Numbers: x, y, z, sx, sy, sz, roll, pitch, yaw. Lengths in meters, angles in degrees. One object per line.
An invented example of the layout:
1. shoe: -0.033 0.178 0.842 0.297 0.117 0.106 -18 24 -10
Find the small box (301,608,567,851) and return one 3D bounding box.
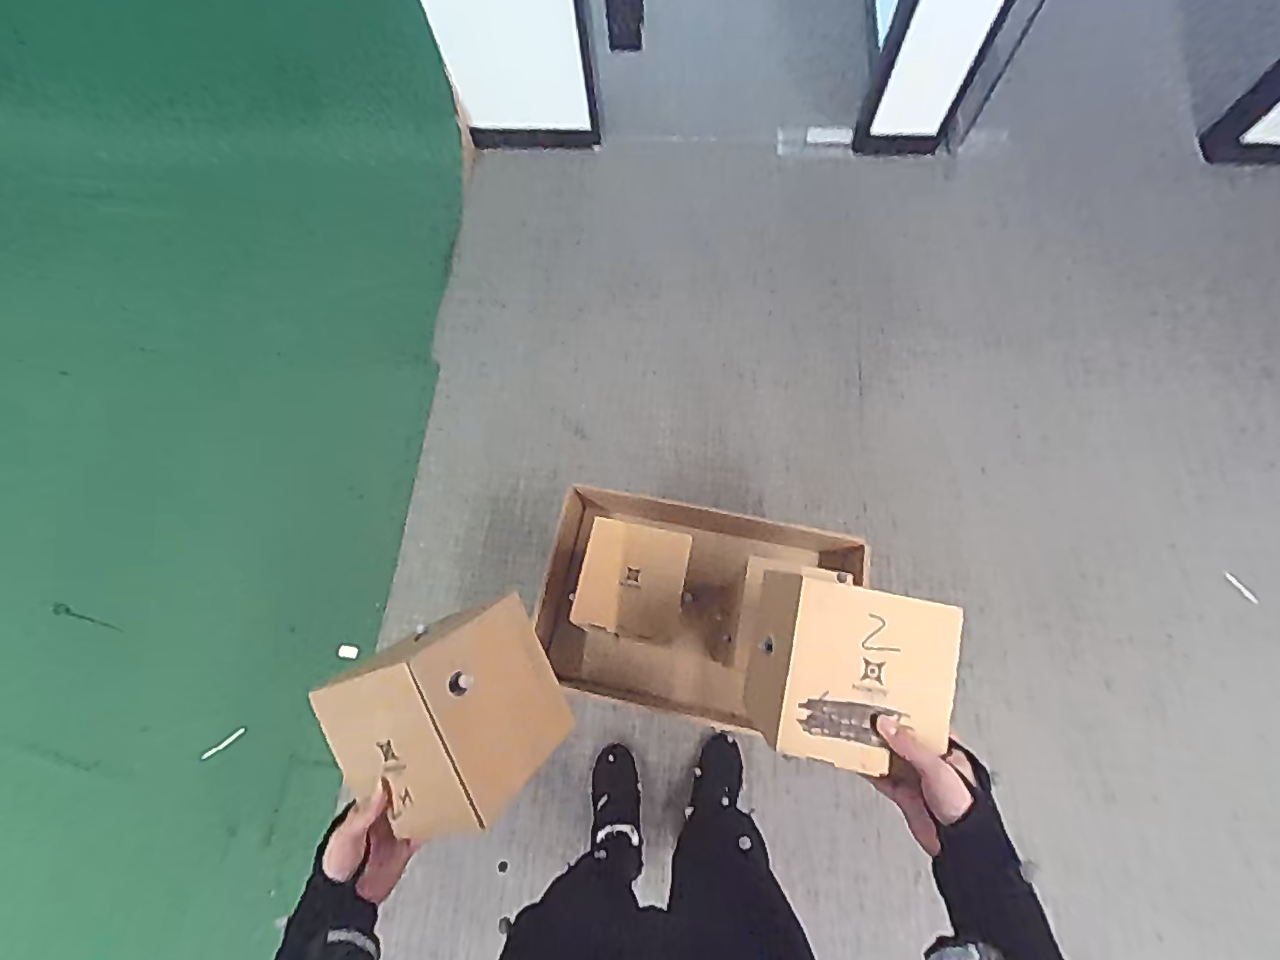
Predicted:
1. small box: -0.211 0.255 0.585 0.168 0.176 0.179 -23 91 26

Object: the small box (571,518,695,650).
1. small box: -0.009 0.184 0.925 0.168 0.176 0.179 12 72 5

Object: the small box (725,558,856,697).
1. small box: 0.238 0.244 0.890 0.168 0.176 0.179 11 71 6
